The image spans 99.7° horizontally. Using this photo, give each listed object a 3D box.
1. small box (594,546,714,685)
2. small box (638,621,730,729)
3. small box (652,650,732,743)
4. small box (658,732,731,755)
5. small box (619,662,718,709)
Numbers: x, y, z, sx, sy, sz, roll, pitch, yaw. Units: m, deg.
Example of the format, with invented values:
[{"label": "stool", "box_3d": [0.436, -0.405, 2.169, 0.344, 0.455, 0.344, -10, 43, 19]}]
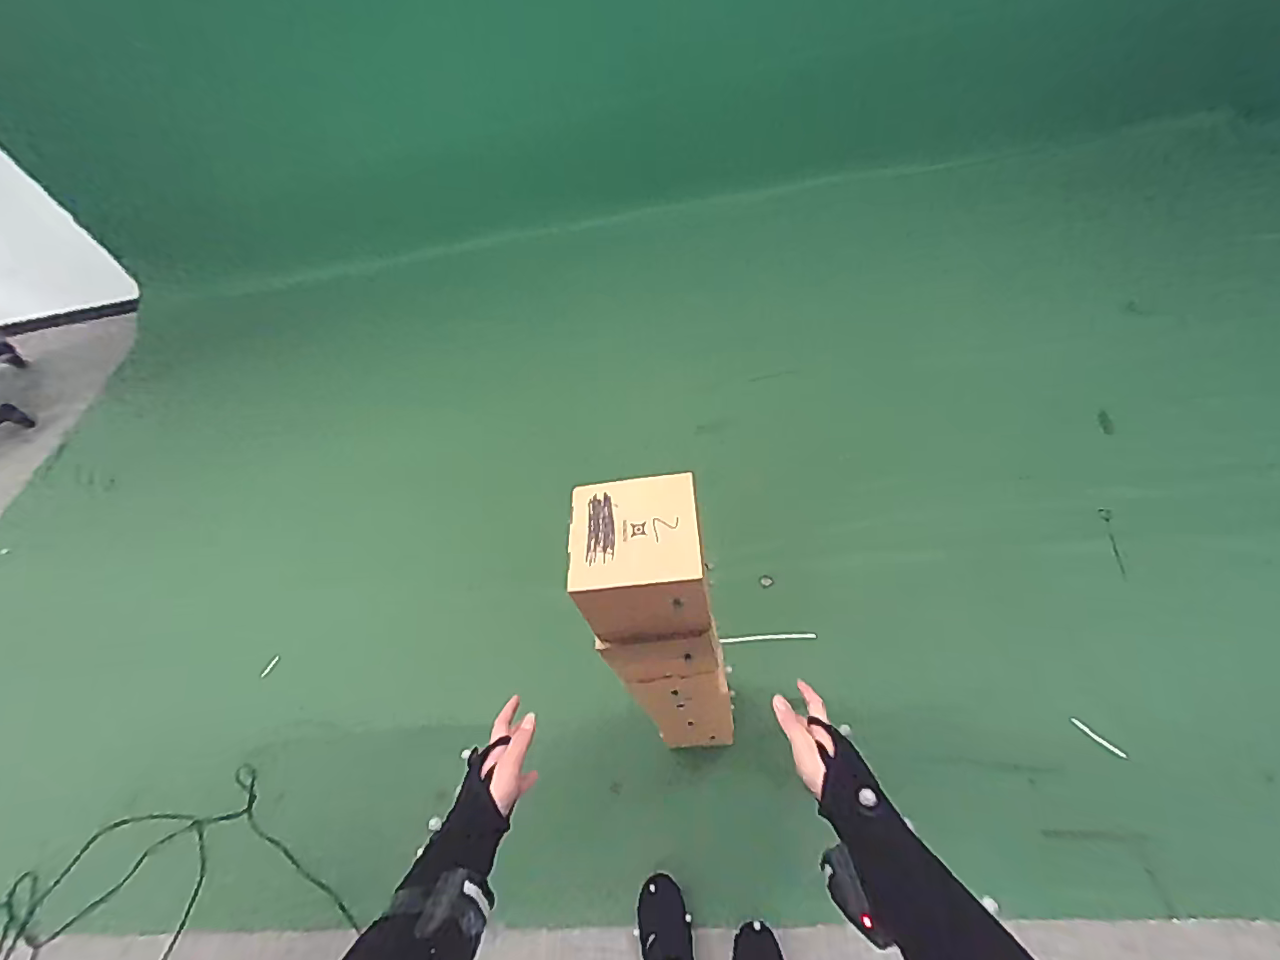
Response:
[{"label": "small box", "box_3d": [0.027, 0.230, 0.902, 0.179, 0.176, 0.168, -9, 52, 7]}, {"label": "small box", "box_3d": [0.090, 0.422, 1.159, 0.179, 0.176, 0.168, -10, 53, 4]}, {"label": "small box", "box_3d": [0.121, 0.518, 1.288, 0.179, 0.176, 0.168, -10, 53, 6]}, {"label": "small box", "box_3d": [0.143, 0.615, 1.416, 0.179, 0.176, 0.168, -7, 53, 7]}, {"label": "small box", "box_3d": [0.053, 0.328, 1.031, 0.168, 0.176, 0.179, -9, 54, 6]}]
